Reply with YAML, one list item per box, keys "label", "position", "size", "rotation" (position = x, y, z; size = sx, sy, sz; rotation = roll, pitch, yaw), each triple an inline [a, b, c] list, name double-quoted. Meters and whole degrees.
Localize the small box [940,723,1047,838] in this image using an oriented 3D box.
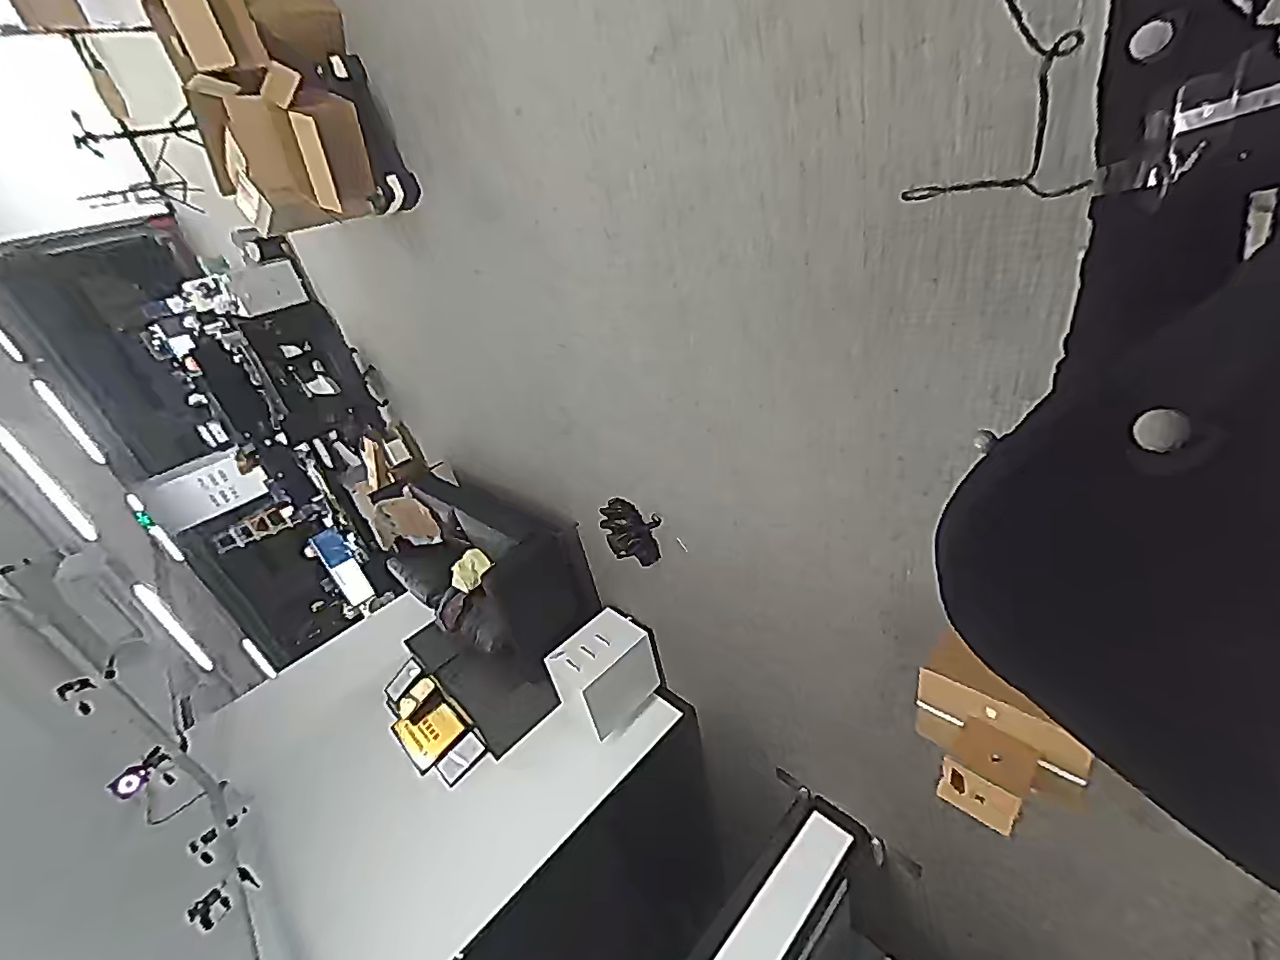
- label: "small box"
  position: [0.928, 0.778, 1.423]
  size: [0.179, 0.176, 0.168]
  rotation: [24, 133, 40]
